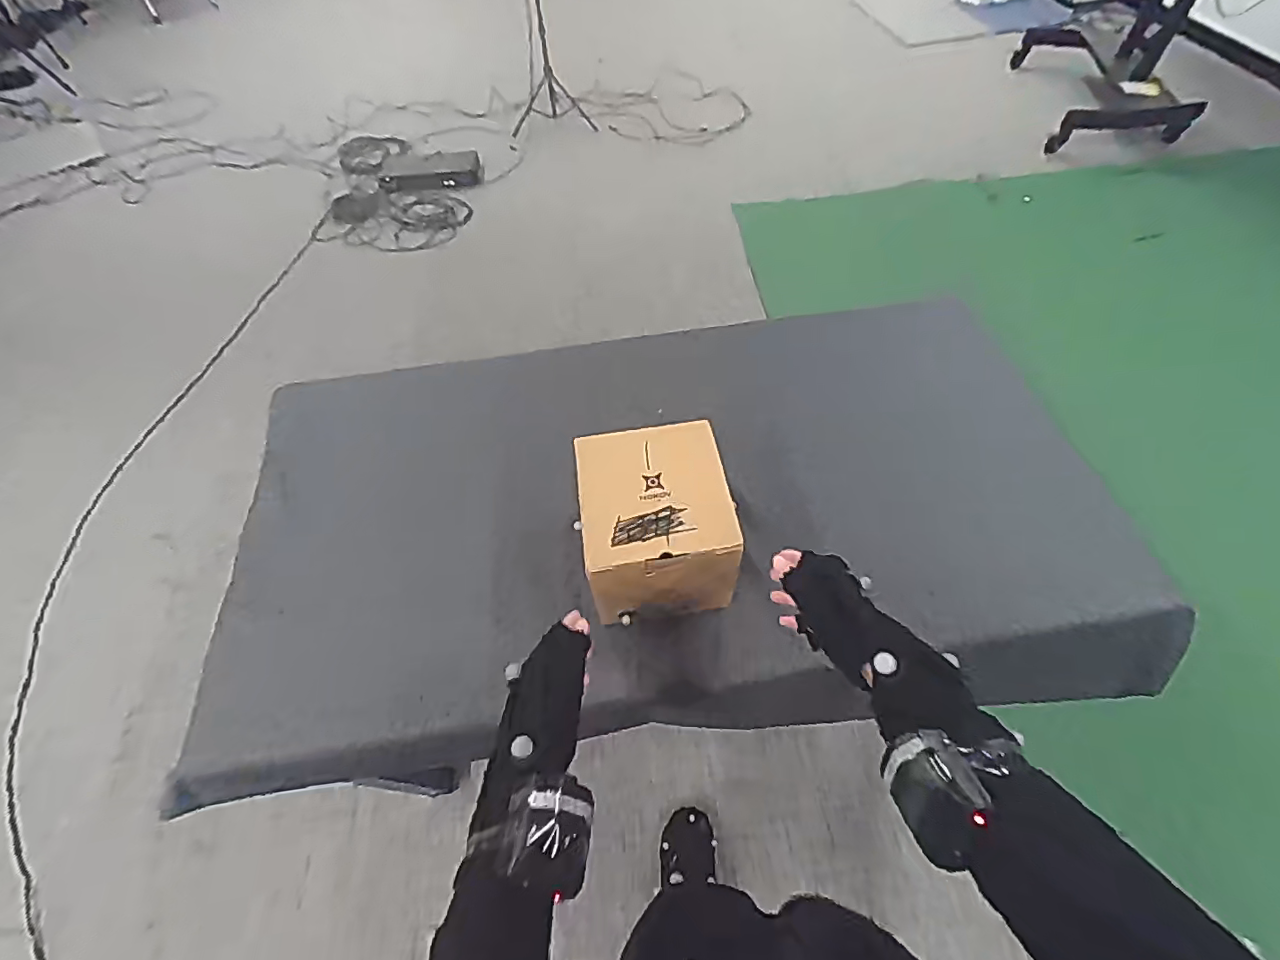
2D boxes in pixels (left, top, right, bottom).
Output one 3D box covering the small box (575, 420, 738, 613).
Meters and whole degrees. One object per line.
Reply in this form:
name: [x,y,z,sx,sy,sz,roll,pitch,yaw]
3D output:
small box: [0.017,0.054,0.673,0.168,0.176,0.179,-8,56,-3]
